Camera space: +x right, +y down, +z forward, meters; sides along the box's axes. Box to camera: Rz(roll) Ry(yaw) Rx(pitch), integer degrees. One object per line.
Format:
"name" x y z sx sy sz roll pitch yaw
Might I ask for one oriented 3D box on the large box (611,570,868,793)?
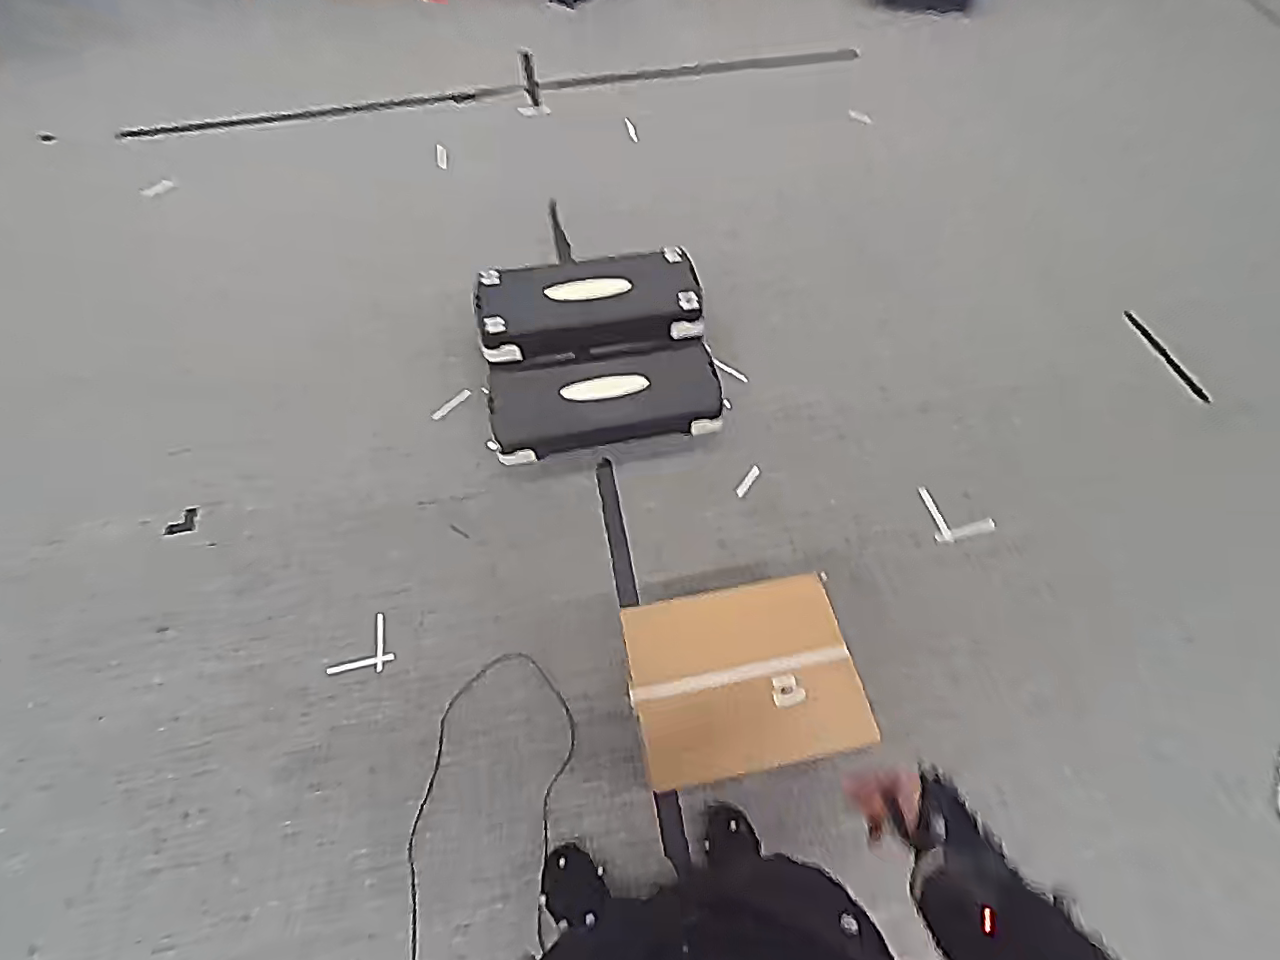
"large box" 0.169 0.419 1.108 0.408 0.320 0.320 -10 62 -7

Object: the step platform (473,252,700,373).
"step platform" -0.160 -0.524 1.673 0.684 0.204 0.286 -5 62 -4
